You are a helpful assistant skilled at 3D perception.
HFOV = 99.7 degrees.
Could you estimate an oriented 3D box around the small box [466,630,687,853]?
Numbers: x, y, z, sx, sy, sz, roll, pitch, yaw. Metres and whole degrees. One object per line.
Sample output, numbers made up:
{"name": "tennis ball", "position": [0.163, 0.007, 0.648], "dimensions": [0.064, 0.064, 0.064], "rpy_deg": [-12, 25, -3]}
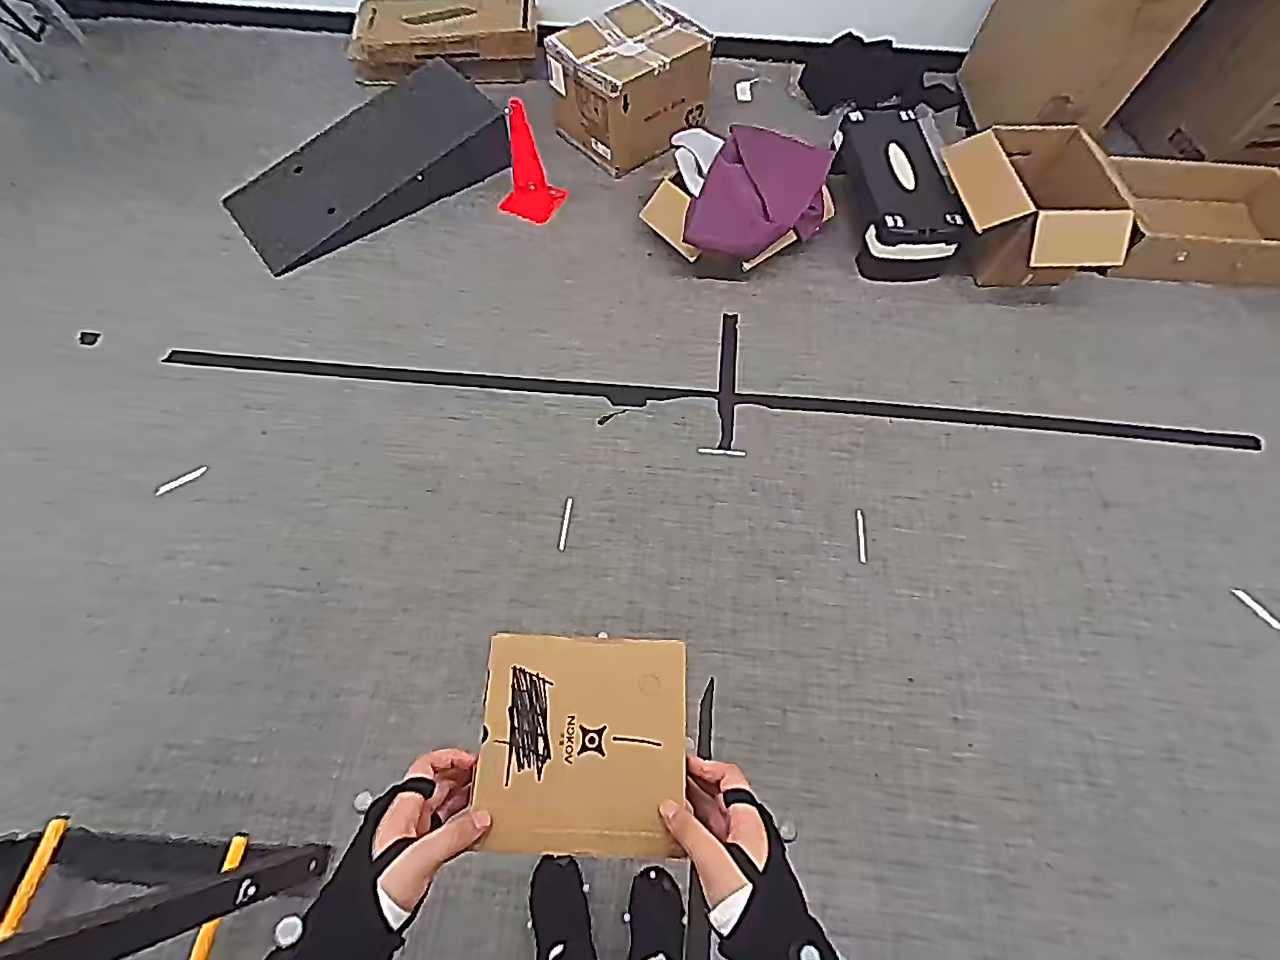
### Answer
{"name": "small box", "position": [-0.047, 0.247, 0.528], "dimensions": [0.179, 0.176, 0.168], "rpy_deg": [2, 66, 0]}
